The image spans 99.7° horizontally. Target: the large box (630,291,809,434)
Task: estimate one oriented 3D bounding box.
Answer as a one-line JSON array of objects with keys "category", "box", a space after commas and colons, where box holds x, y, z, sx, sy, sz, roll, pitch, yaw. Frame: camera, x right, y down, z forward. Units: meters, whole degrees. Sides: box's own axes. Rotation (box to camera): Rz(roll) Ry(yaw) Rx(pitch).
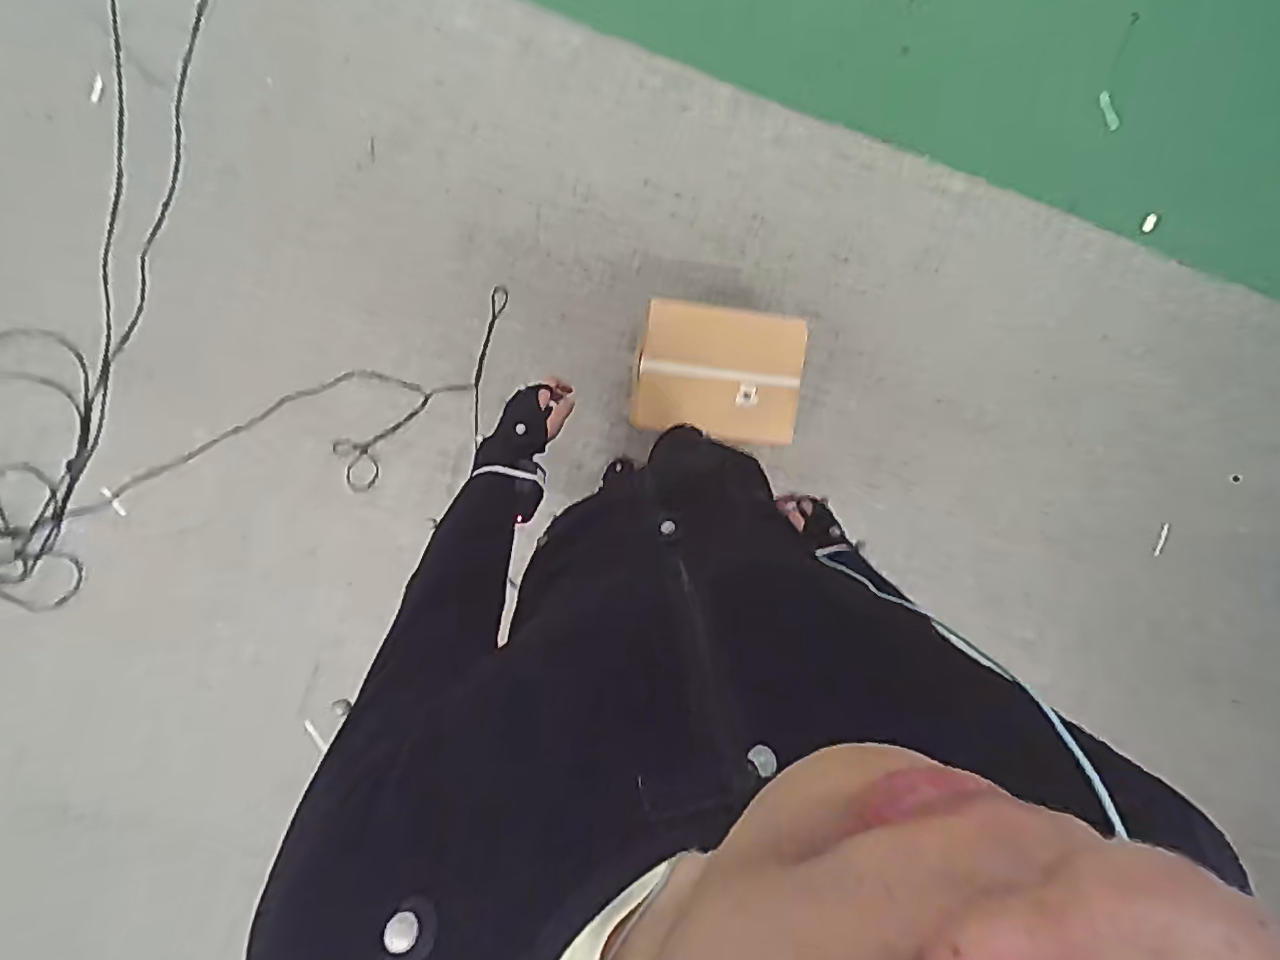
[{"category": "large box", "box": [0.192, -0.304, 1.480, 0.408, 0.320, 0.320, 6, 98, -6]}]
